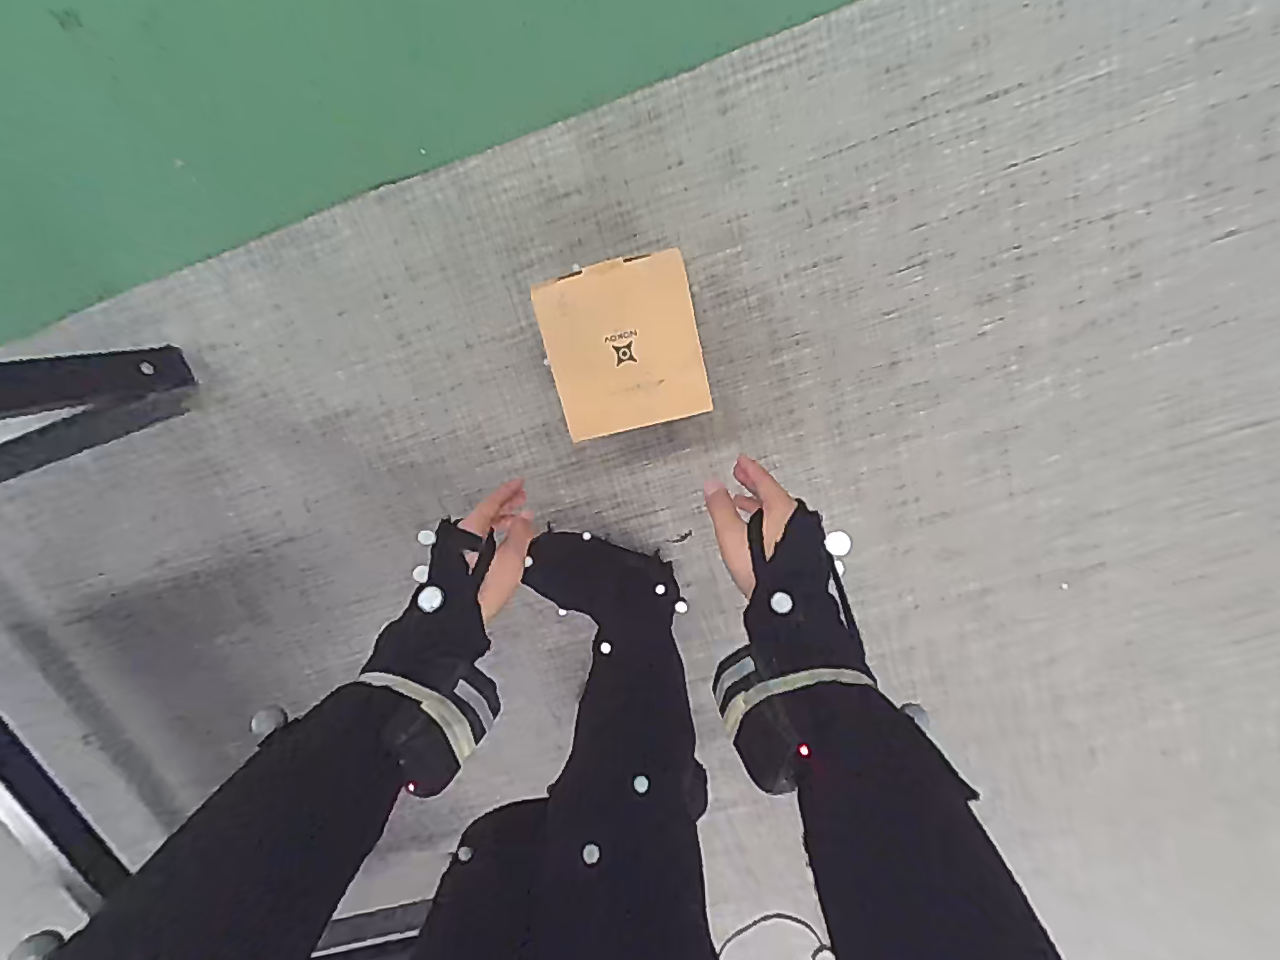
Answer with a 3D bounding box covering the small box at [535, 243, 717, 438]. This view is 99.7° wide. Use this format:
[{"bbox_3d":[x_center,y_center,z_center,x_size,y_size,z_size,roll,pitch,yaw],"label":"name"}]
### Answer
[{"bbox_3d":[-0.011,-0.169,0.656,0.168,0.176,0.179,-13,108,7],"label":"small box"}]
